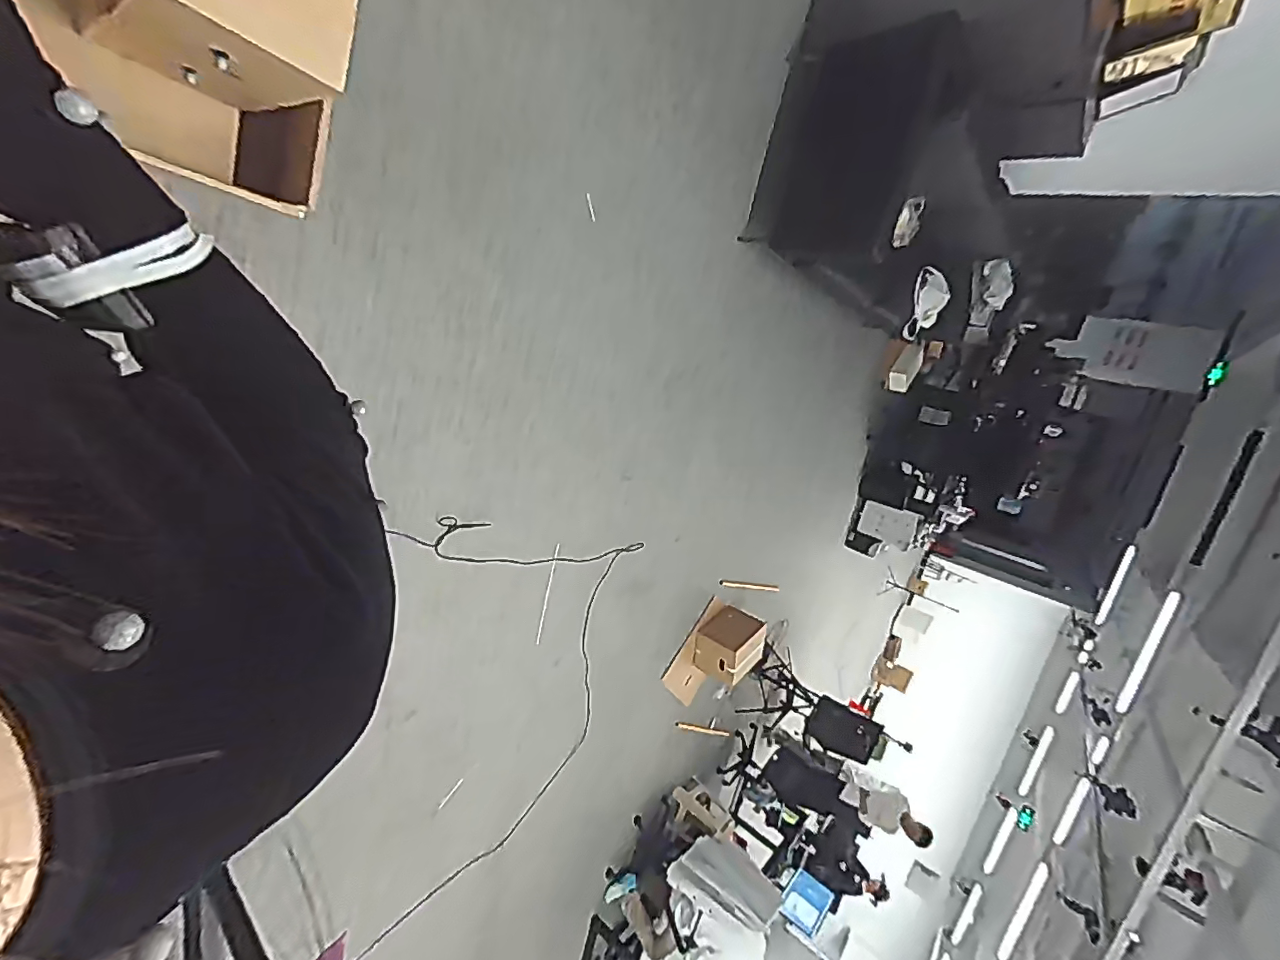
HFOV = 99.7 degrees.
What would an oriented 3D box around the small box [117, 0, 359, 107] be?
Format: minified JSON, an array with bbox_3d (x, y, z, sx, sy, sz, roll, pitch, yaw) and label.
[{"bbox_3d":[-0.412,-0.522,0.559,0.168,0.176,0.179,2,106,-53],"label":"small box"}]
